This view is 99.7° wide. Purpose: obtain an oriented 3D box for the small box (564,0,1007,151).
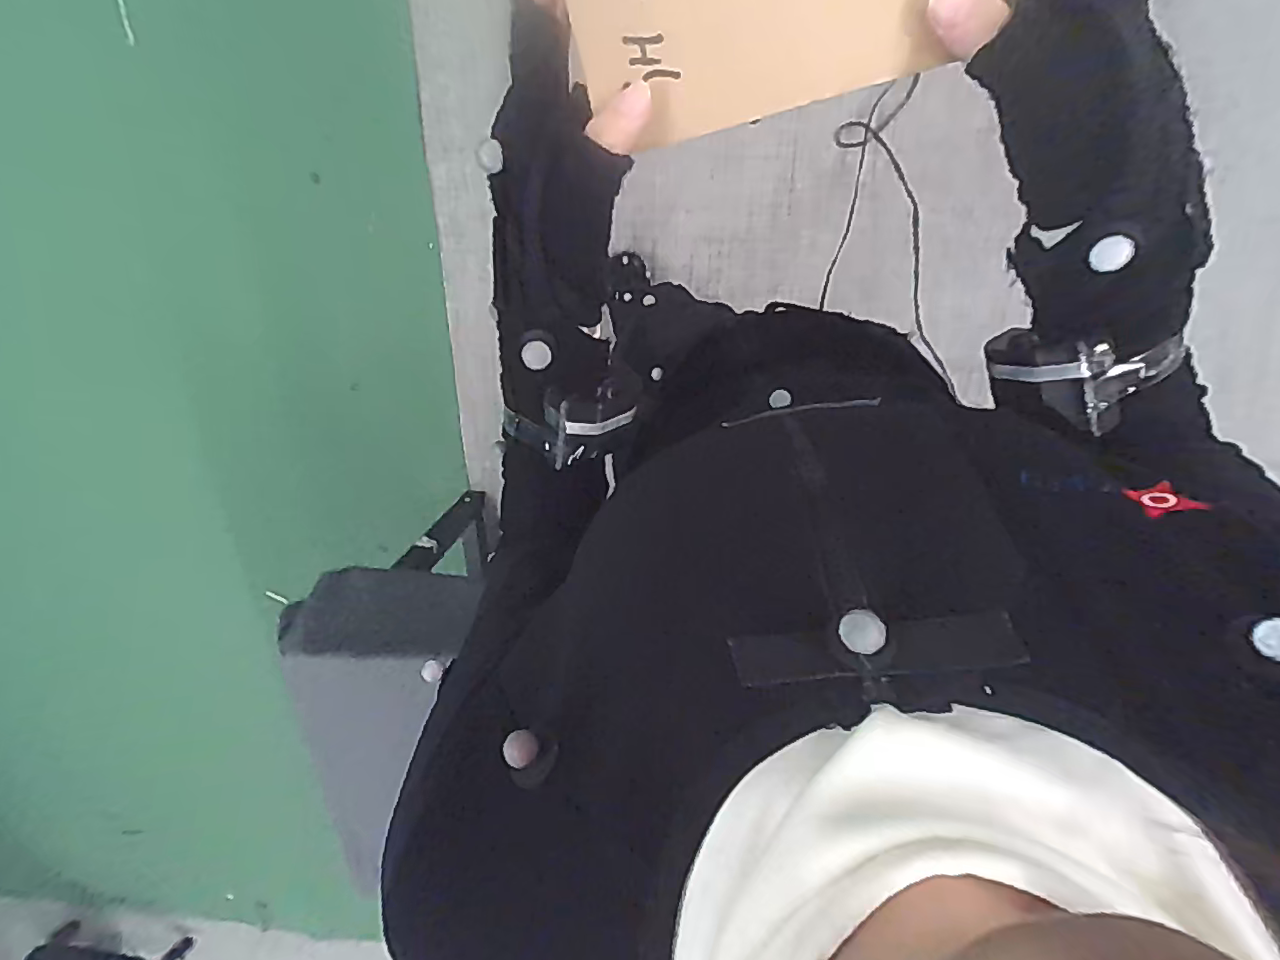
[{"bbox_3d":[0.047,-0.275,0.247,0.179,0.176,0.168,-10,128,8],"label":"small box"}]
